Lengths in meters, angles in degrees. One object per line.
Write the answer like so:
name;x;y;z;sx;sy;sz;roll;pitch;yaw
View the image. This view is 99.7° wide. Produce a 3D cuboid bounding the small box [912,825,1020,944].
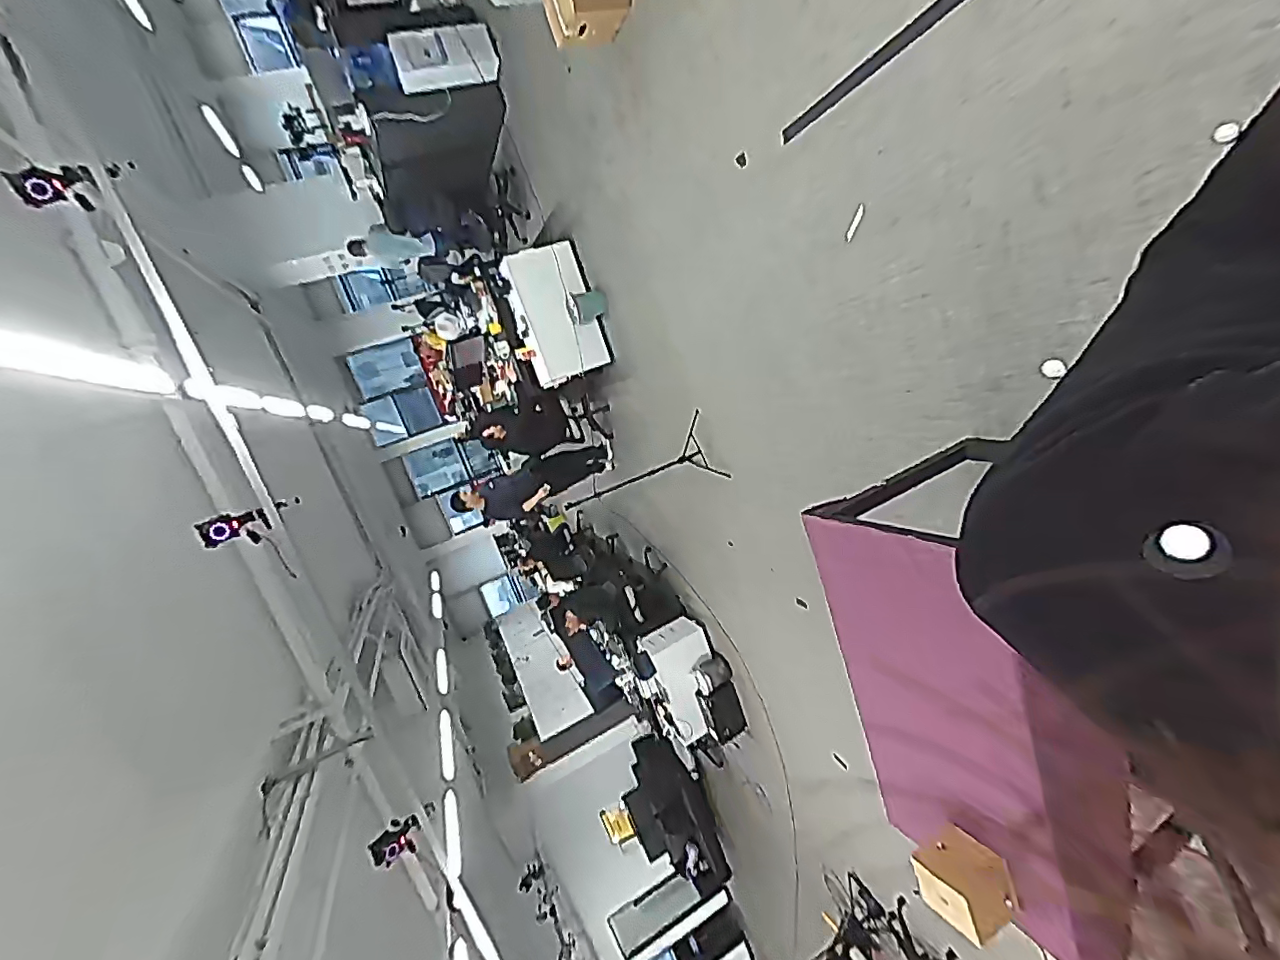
small box;0.905;1.108;1.504;0.168;0.176;0.179;69;161;-9
